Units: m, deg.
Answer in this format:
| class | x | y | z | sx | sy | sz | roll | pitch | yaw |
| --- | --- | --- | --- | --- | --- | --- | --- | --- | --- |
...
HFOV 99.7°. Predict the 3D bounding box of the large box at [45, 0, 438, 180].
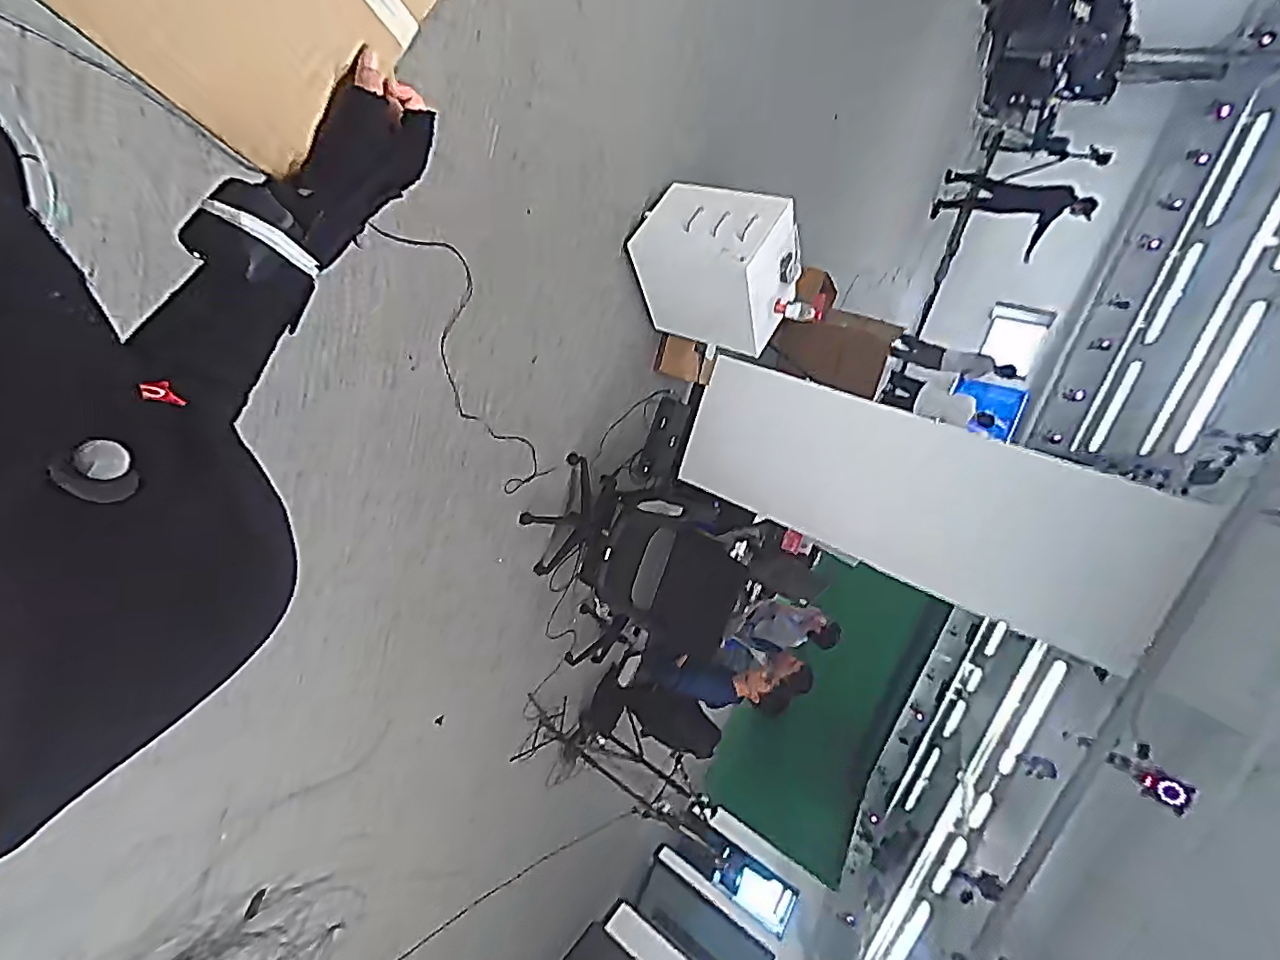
| class | x | y | z | sx | sy | sz | roll | pitch | yaw |
| --- | --- | --- | --- | --- | --- | --- | --- | --- | --- |
| large box | -0.367 | -0.501 | 0.338 | 0.320 | 0.320 | 0.408 | -48 | 152 | 4 |
